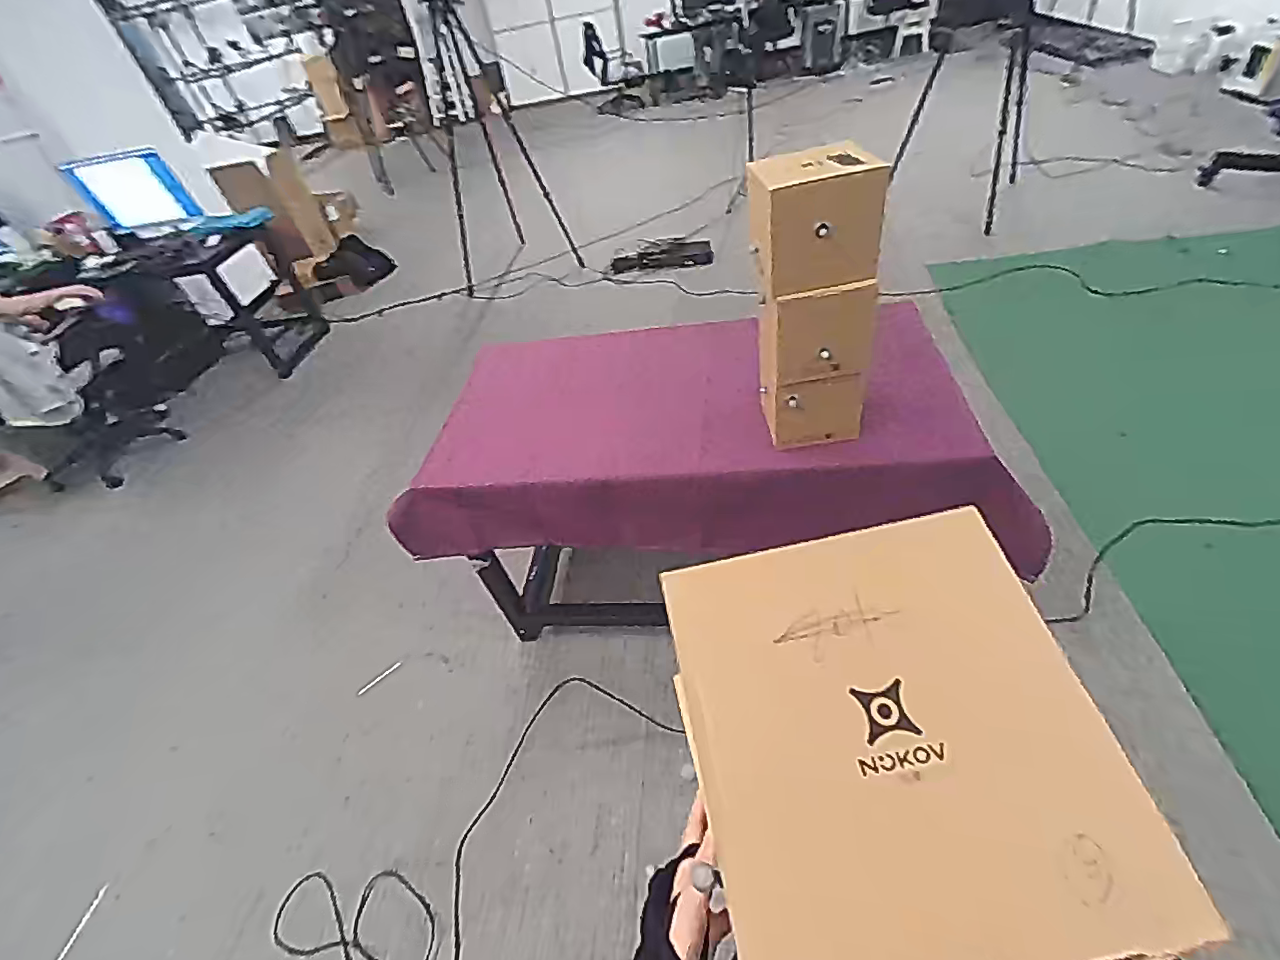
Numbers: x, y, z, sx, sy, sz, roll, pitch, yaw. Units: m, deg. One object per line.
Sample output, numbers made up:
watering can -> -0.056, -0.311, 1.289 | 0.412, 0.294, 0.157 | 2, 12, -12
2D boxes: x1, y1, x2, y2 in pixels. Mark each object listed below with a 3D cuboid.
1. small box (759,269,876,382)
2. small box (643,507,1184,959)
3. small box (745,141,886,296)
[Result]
small box -> 0.311, -0.302, 0.987 | 0.168, 0.176, 0.179 | -8, 43, 6
small box -> 0.104, 0.142, 0.296 | 0.168, 0.176, 0.179 | -12, 56, 1
small box -> 0.275, -0.425, 0.884 | 0.179, 0.176, 0.168 | -10, 42, 5
